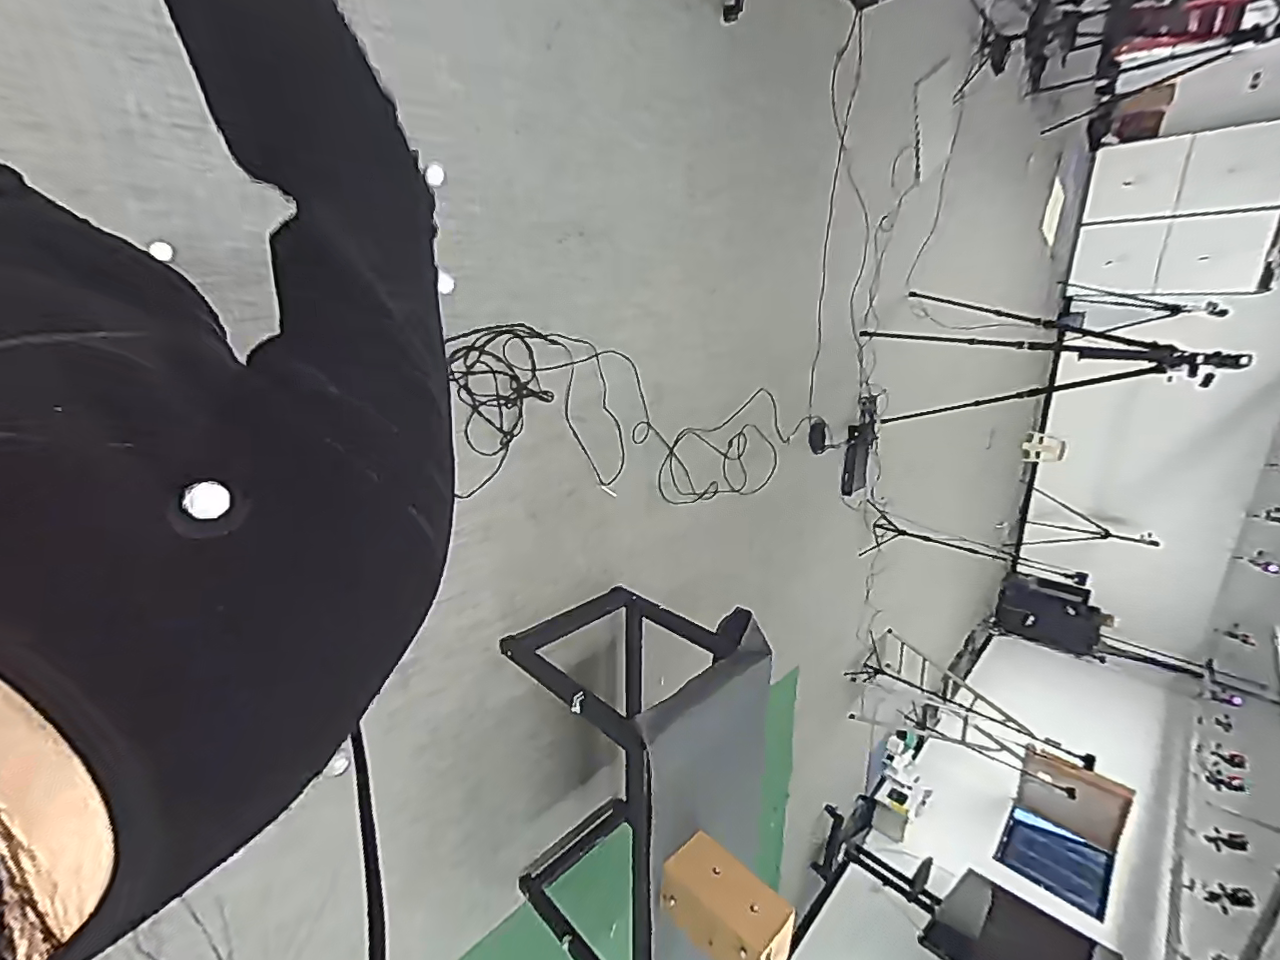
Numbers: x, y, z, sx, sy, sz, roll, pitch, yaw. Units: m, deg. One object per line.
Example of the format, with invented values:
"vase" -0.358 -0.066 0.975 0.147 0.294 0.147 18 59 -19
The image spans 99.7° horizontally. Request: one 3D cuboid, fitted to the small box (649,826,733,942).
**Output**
"small box" 0.148 1.173 1.588 0.179 0.176 0.168 -10 110 -45
